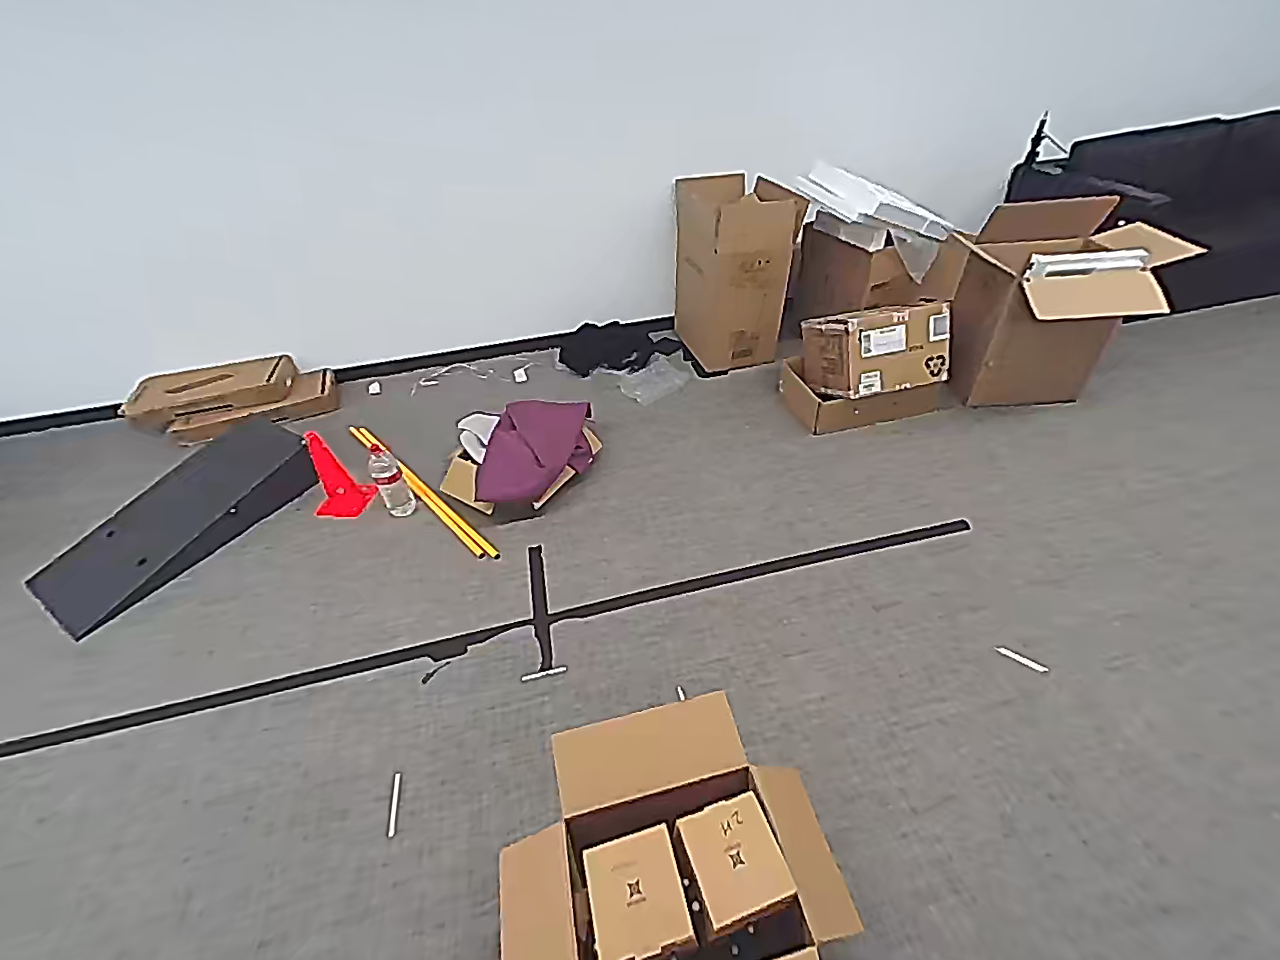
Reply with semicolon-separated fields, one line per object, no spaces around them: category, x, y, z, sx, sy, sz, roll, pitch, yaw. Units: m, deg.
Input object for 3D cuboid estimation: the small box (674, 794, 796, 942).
small box;0.172;0.747;1.037;0.168;0.176;0.179;-12;42;-15
